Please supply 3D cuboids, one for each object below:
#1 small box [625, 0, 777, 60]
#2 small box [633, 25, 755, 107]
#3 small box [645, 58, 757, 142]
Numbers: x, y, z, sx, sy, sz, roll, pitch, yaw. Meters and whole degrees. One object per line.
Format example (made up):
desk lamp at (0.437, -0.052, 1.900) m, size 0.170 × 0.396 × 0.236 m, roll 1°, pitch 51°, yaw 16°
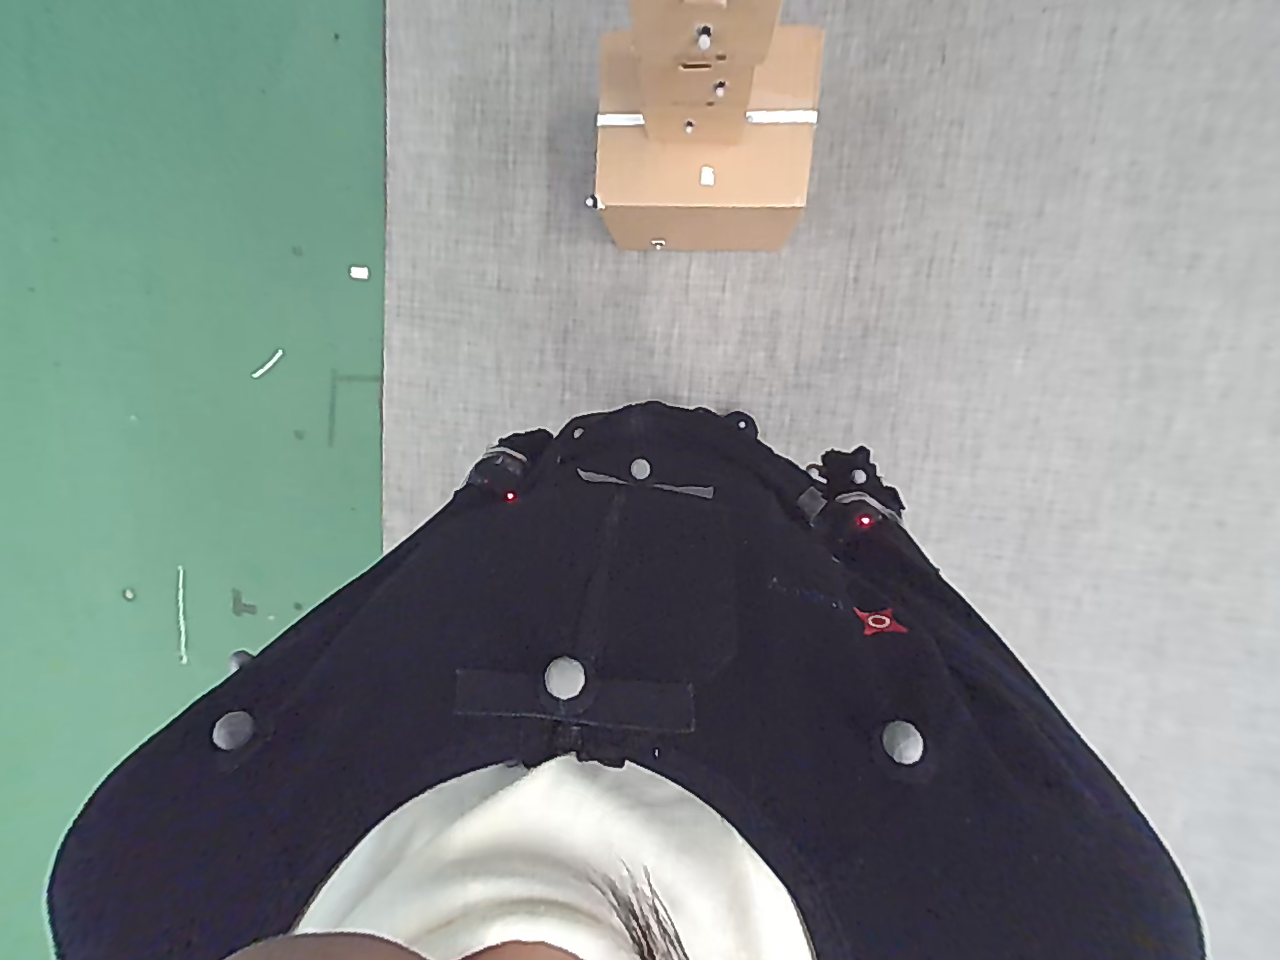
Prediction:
small box at (0.077, -0.608, 0.608) m, size 0.168 × 0.176 × 0.179 m, roll 4°, pitch 106°, yaw 6°
small box at (0.084, -0.656, 0.764) m, size 0.168 × 0.176 × 0.179 m, roll 4°, pitch 104°, yaw 5°
small box at (0.105, -0.696, 0.920) m, size 0.179 × 0.176 × 0.168 m, roll 3°, pitch 105°, yaw 7°
